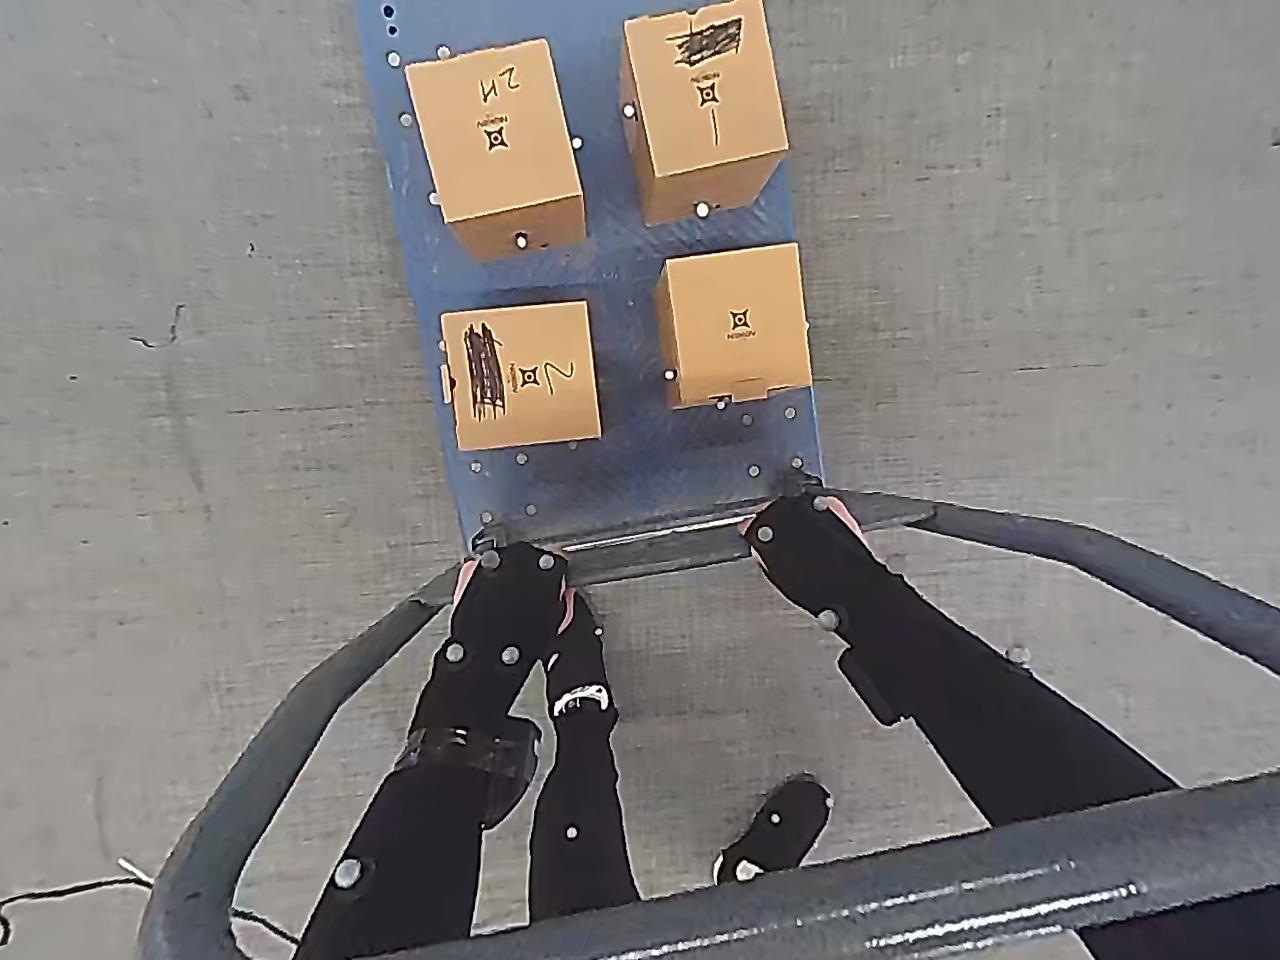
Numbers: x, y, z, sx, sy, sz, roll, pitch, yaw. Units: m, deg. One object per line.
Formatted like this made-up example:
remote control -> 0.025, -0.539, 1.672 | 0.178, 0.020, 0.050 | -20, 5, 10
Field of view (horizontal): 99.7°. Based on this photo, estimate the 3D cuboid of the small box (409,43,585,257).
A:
small box -> -0.168, -0.403, 0.698 | 0.168, 0.176, 0.179 | -13, 97, -3

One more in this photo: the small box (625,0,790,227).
small box -> 0.077, -0.462, 0.707 | 0.168, 0.176, 0.179 | -13, 98, -2

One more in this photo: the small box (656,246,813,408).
small box -> 0.119, -0.196, 0.739 | 0.168, 0.176, 0.179 | -8, 97, -3
